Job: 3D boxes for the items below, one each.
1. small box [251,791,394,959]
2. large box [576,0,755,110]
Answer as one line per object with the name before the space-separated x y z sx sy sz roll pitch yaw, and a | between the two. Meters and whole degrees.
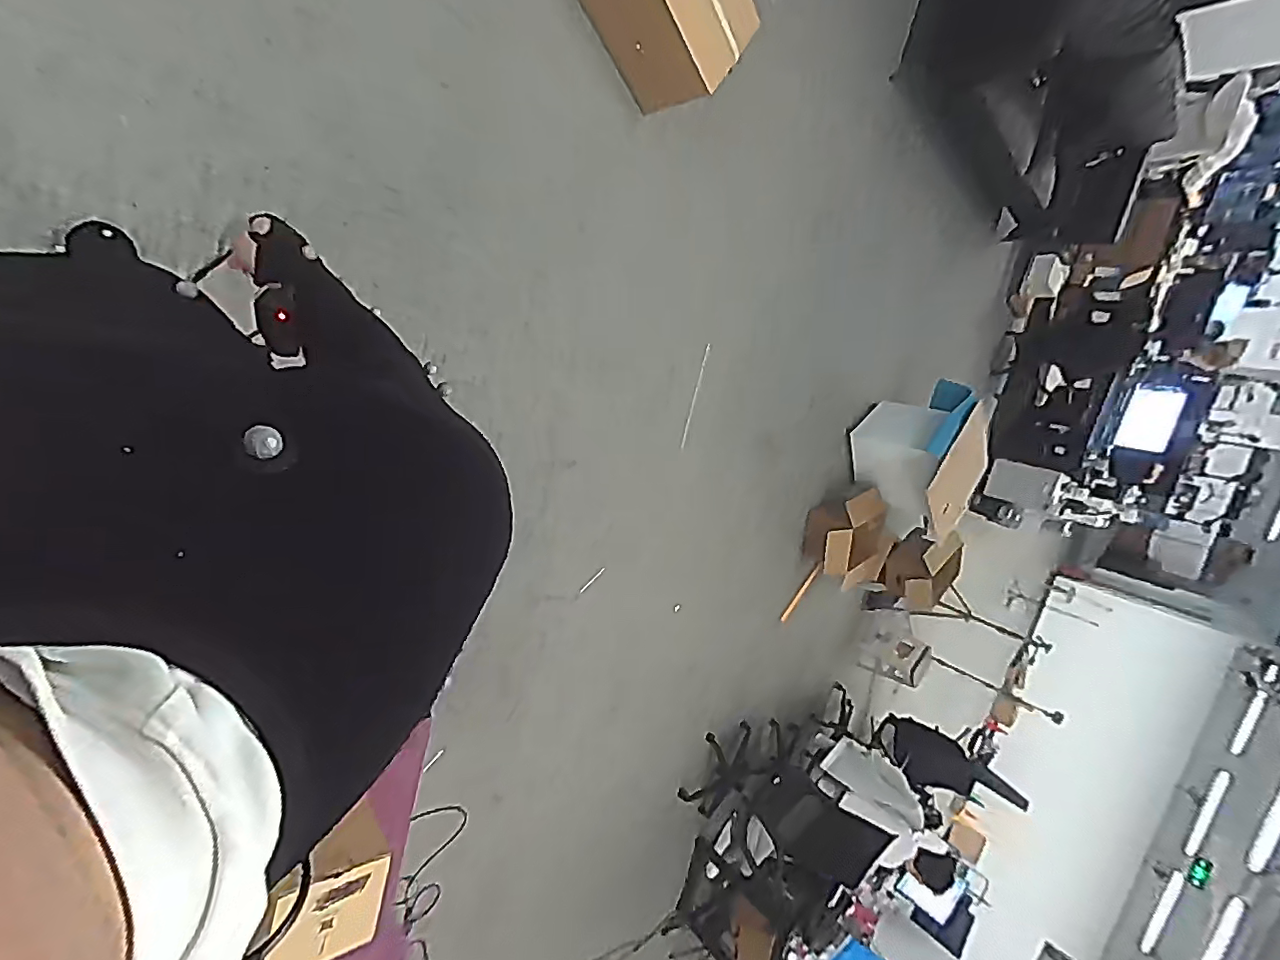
small box | -0.545 0.669 0.923 0.168 0.176 0.179 7 102 -44
large box | 0.073 -1.427 1.617 0.408 0.320 0.320 40 77 -43
